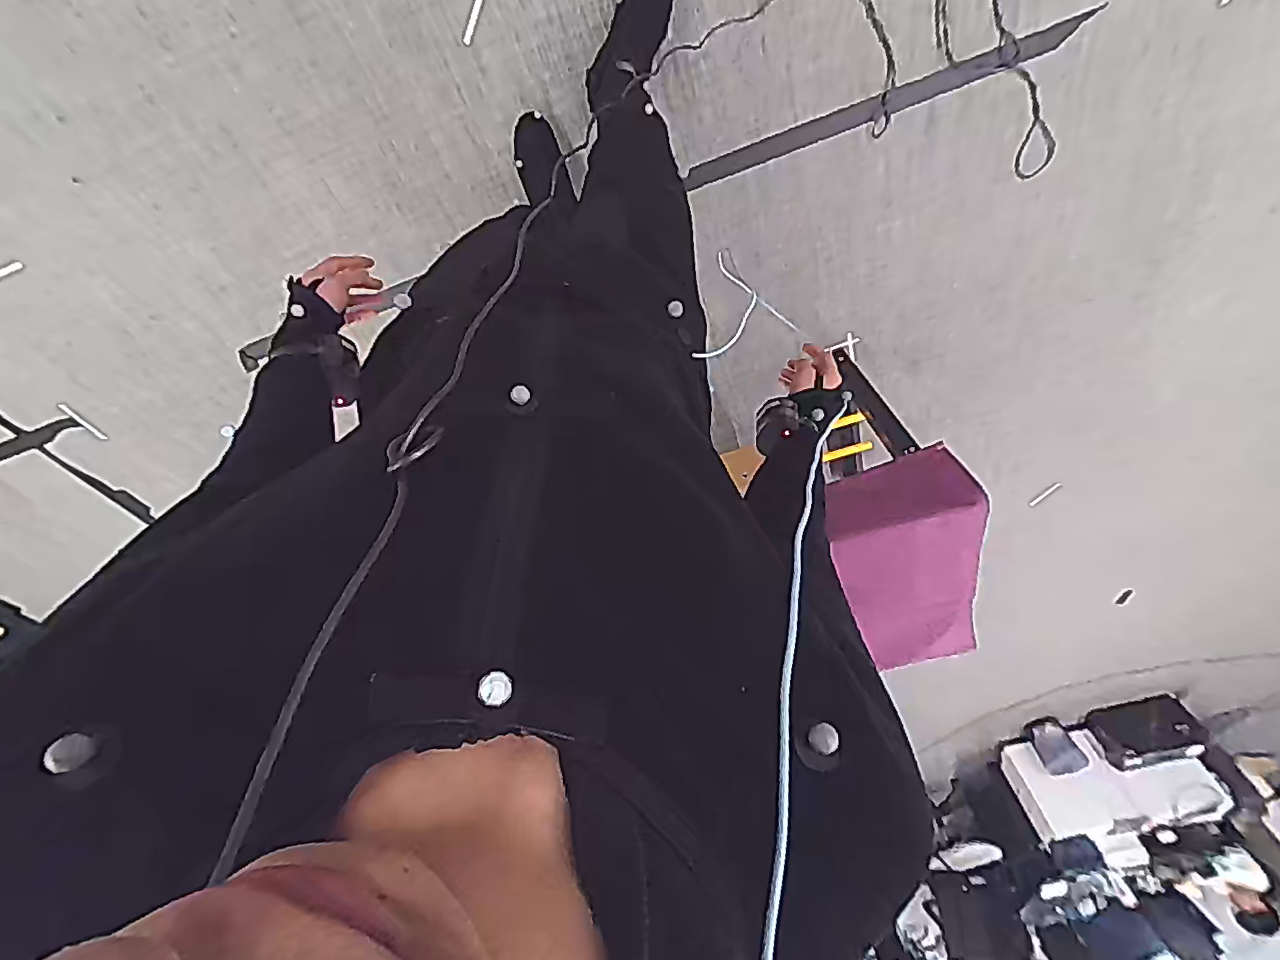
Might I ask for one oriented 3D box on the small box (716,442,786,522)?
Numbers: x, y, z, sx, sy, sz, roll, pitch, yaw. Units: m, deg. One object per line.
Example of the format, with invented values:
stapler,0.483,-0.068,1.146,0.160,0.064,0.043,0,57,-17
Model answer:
small box,0.354,0.005,1.756,0.179,0.176,0.168,-19,131,10
